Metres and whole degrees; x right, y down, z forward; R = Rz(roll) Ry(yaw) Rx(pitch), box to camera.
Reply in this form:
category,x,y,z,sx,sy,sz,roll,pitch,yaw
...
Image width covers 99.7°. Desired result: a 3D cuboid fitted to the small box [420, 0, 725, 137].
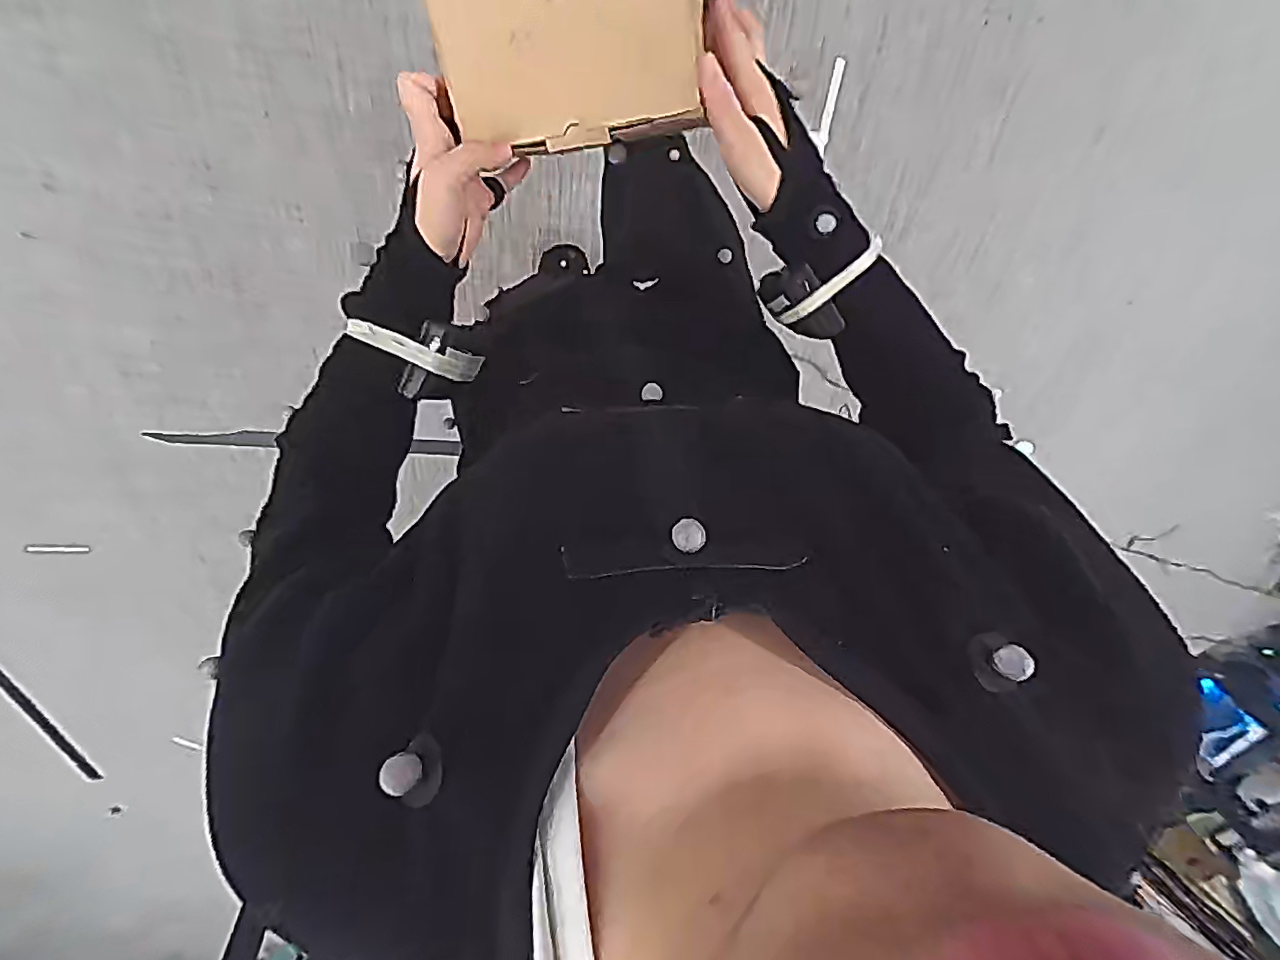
category,x,y,z,sx,sy,sz,roll,pitch,yaw
small box,-0.038,-0.347,0.359,0.168,0.176,0.179,-1,122,16
